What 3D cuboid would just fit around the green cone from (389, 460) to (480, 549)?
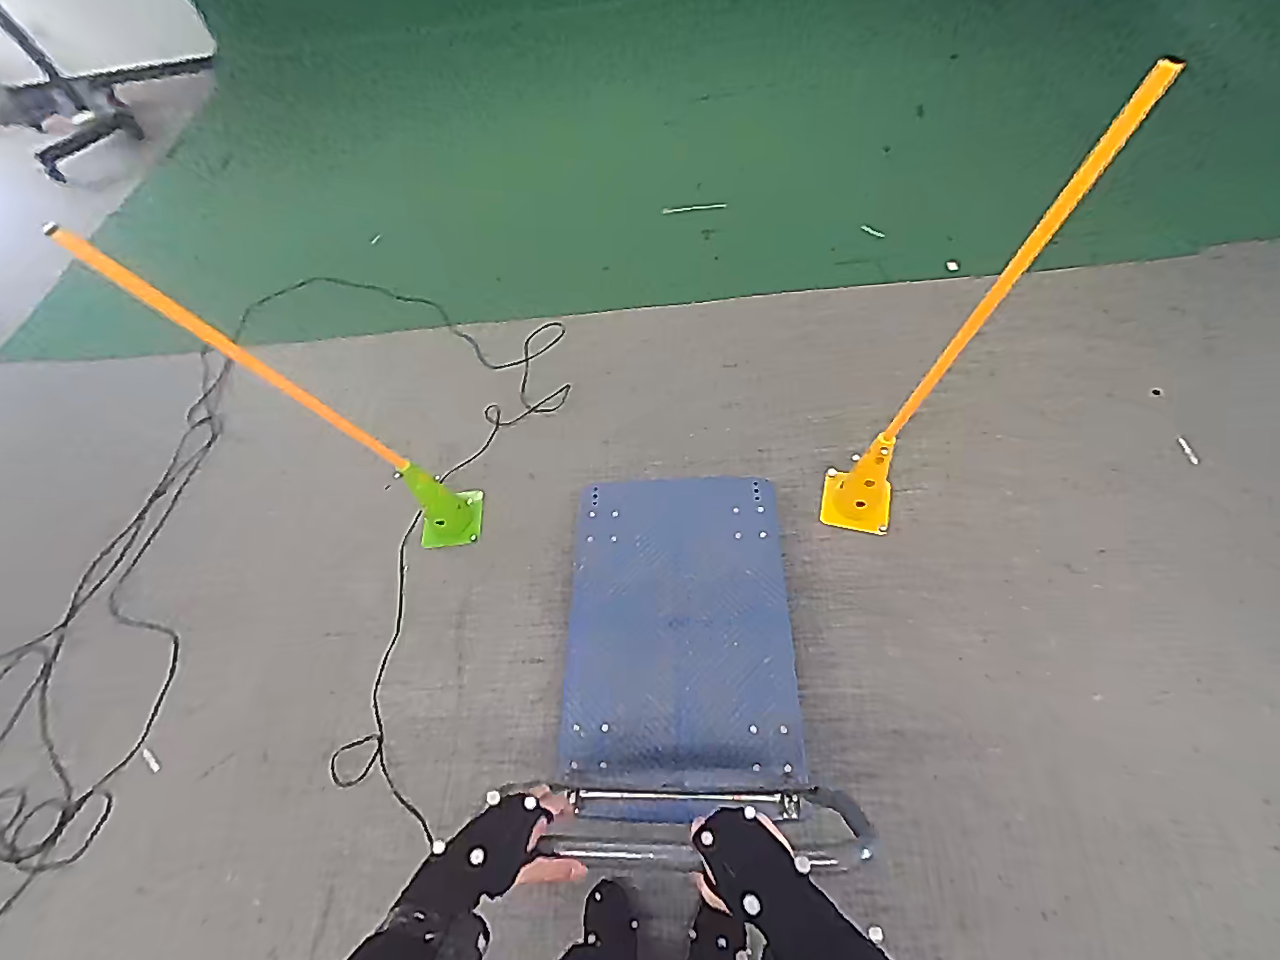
[{"bbox_3d":[-0.667,0.045,1.688,0.202,0.368,0.200,-8,58,4],"label":"green cone"}]
